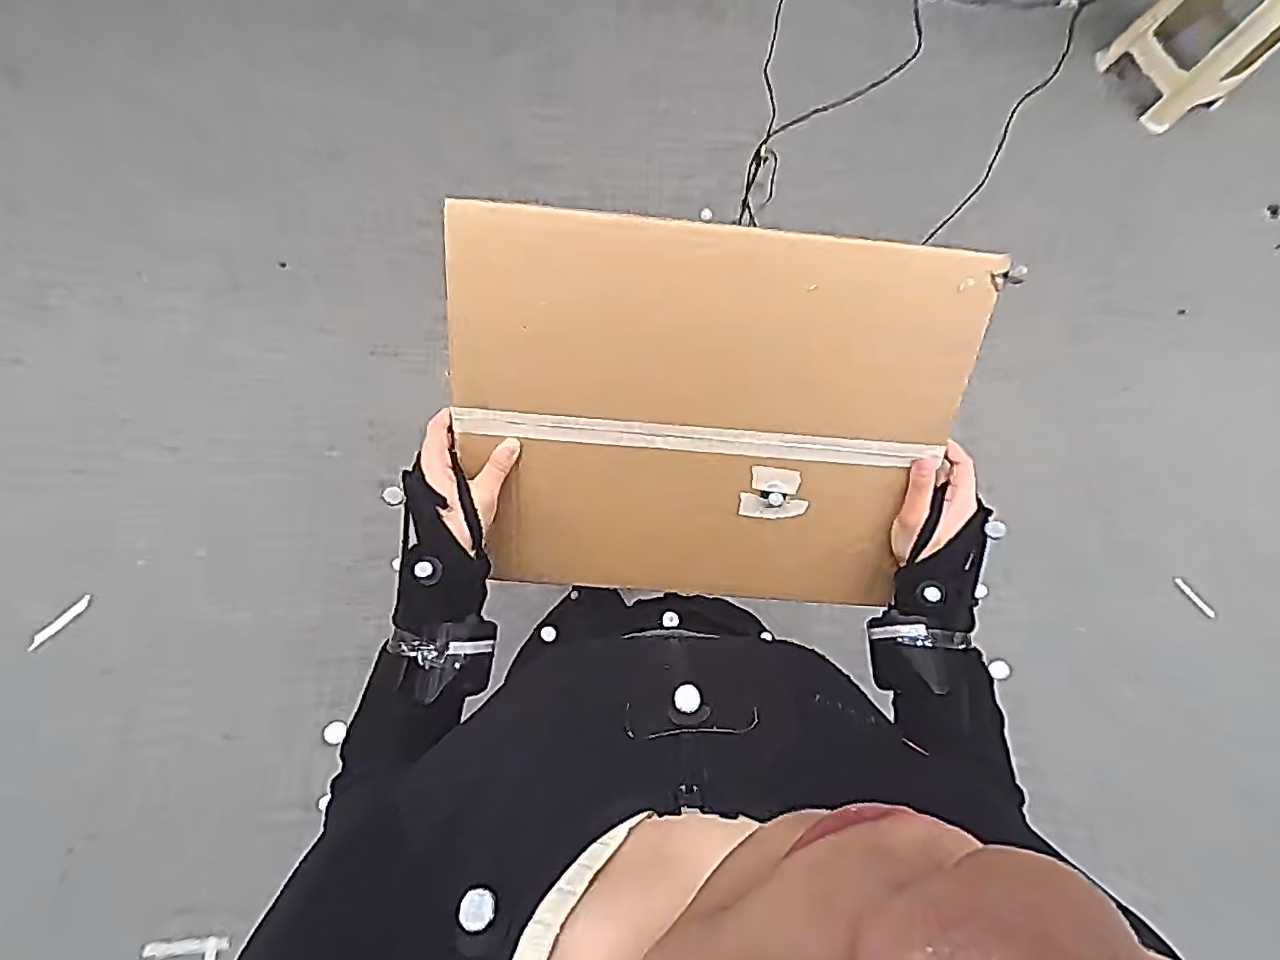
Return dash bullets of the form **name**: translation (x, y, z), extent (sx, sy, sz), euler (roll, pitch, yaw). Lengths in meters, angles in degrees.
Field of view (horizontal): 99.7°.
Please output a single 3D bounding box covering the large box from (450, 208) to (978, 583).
- **large box**: translation (0.043, -0.107, 0.594), extent (0.408, 0.320, 0.320), euler (3, 116, -4)
